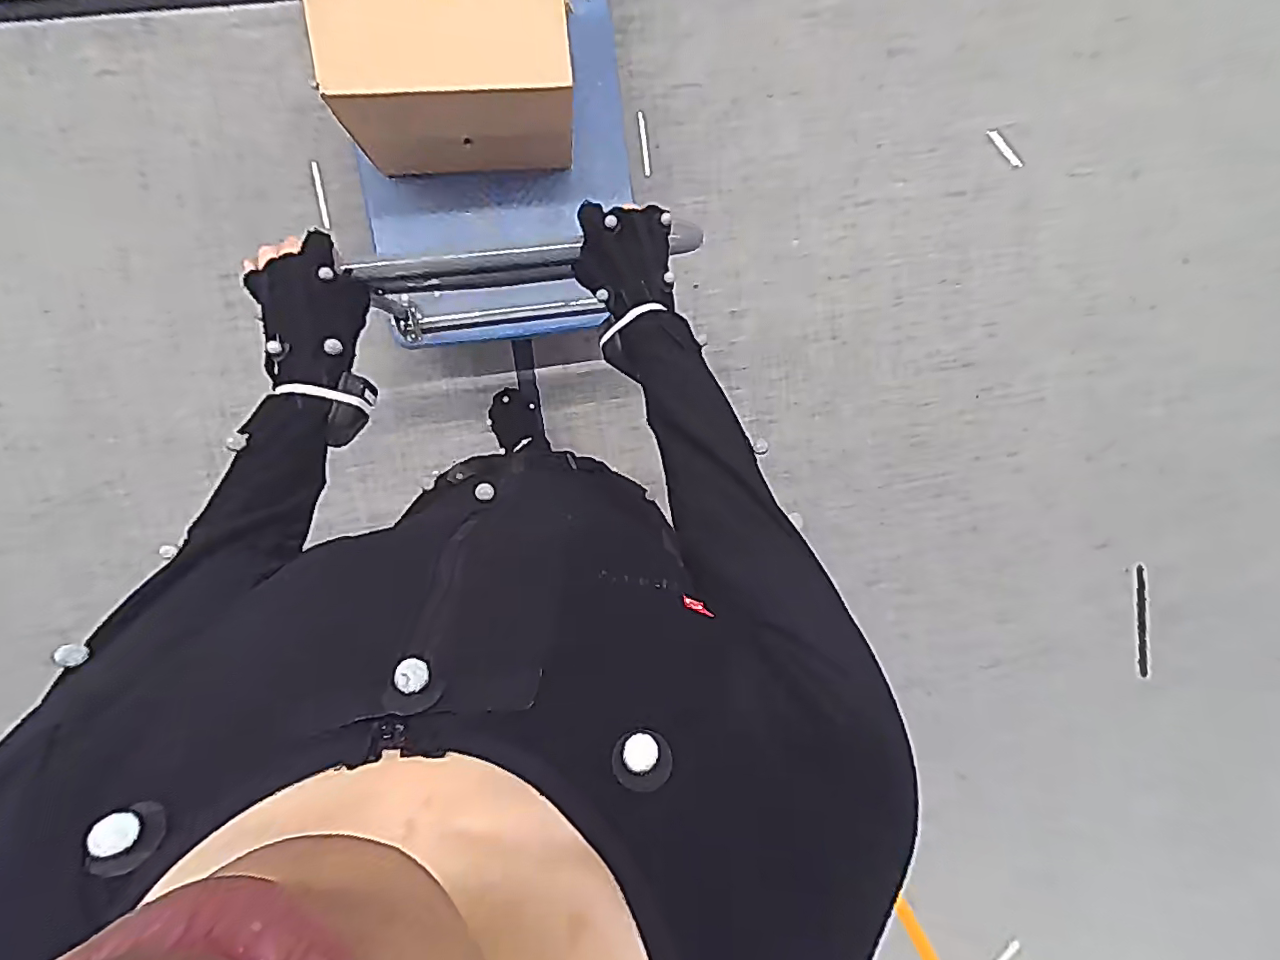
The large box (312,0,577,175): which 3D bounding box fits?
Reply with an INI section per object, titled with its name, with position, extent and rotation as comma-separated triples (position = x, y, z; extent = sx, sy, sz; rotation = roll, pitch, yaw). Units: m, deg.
[large box]
position = -0.338, -0.806, 1.016
extent = 0.408, 0.320, 0.320
rotation = -7, 98, -6
